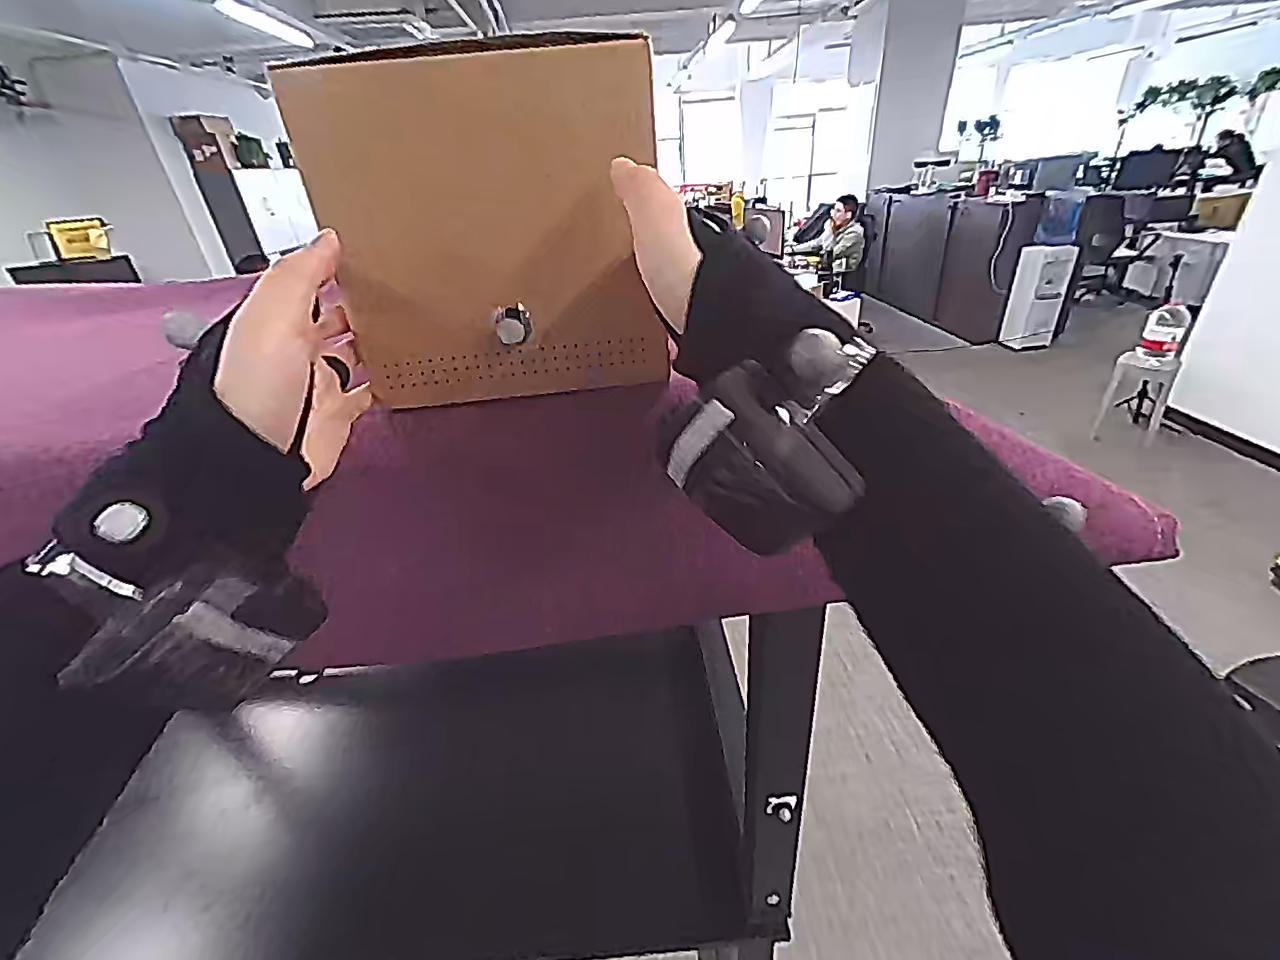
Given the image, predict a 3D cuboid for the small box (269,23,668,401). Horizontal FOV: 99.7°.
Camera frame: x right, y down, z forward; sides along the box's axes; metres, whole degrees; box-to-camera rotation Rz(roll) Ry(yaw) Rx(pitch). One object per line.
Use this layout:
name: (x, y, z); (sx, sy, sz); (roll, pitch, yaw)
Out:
small box: (-0.076, -0.159, 0.344); (0.179, 0.176, 0.168); (-6, 28, -2)
